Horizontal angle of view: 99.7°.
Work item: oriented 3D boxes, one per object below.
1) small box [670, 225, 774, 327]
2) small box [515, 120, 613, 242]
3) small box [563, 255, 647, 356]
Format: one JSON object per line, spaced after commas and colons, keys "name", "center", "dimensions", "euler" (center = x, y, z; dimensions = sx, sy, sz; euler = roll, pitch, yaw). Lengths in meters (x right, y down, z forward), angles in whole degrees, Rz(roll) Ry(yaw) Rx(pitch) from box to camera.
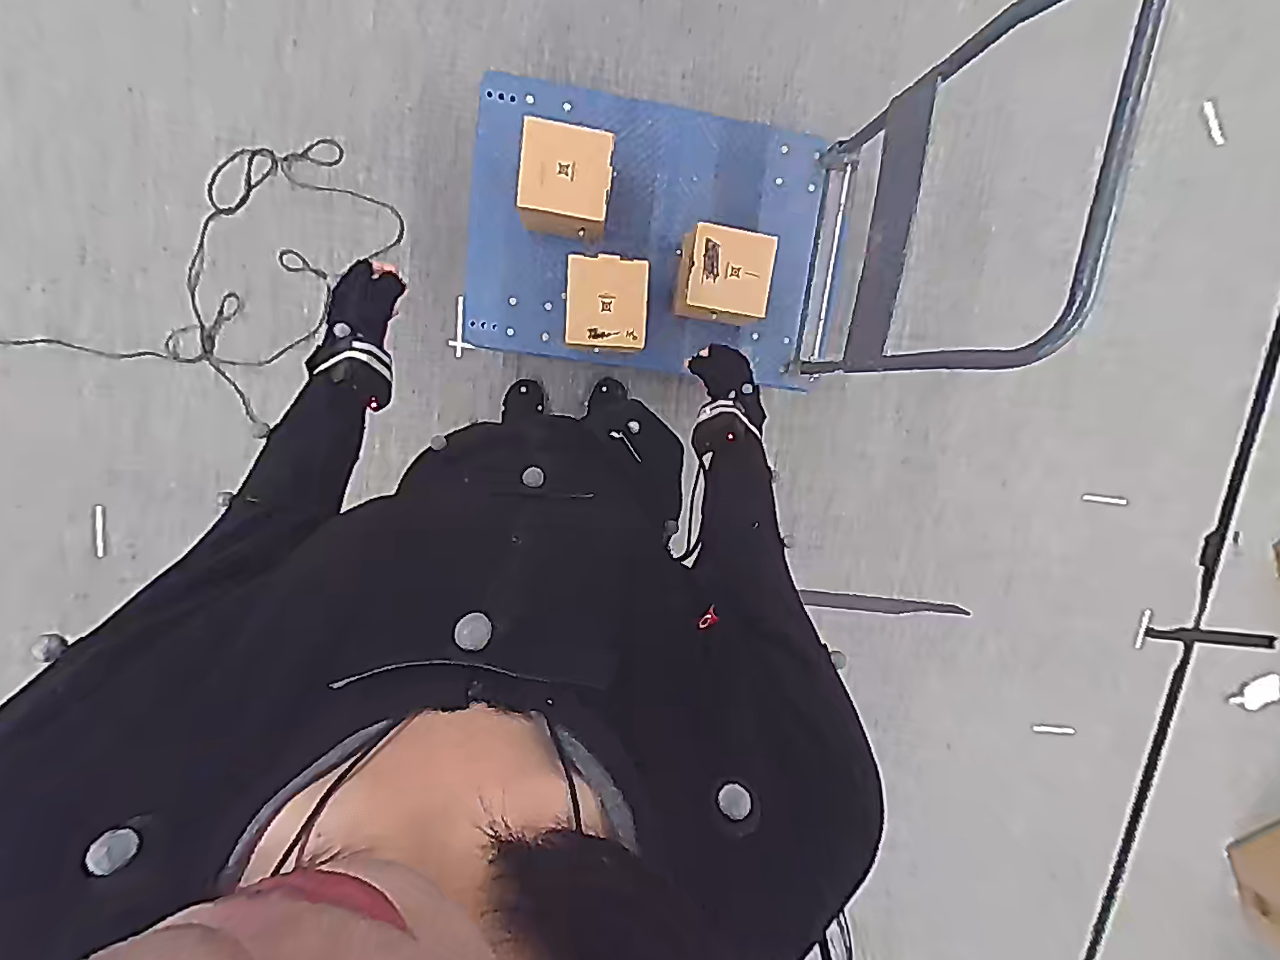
{"name": "small box", "center": [0.173, -0.443, 1.202], "dimensions": [0.179, 0.176, 0.168], "euler": [8, 99, -9]}
{"name": "small box", "center": [-0.158, -0.613, 1.134], "dimensions": [0.179, 0.176, 0.168], "euler": [6, 98, -7]}
{"name": "small box", "center": [-0.082, -0.374, 1.185], "dimensions": [0.168, 0.176, 0.179], "euler": [2, 98, -7]}
